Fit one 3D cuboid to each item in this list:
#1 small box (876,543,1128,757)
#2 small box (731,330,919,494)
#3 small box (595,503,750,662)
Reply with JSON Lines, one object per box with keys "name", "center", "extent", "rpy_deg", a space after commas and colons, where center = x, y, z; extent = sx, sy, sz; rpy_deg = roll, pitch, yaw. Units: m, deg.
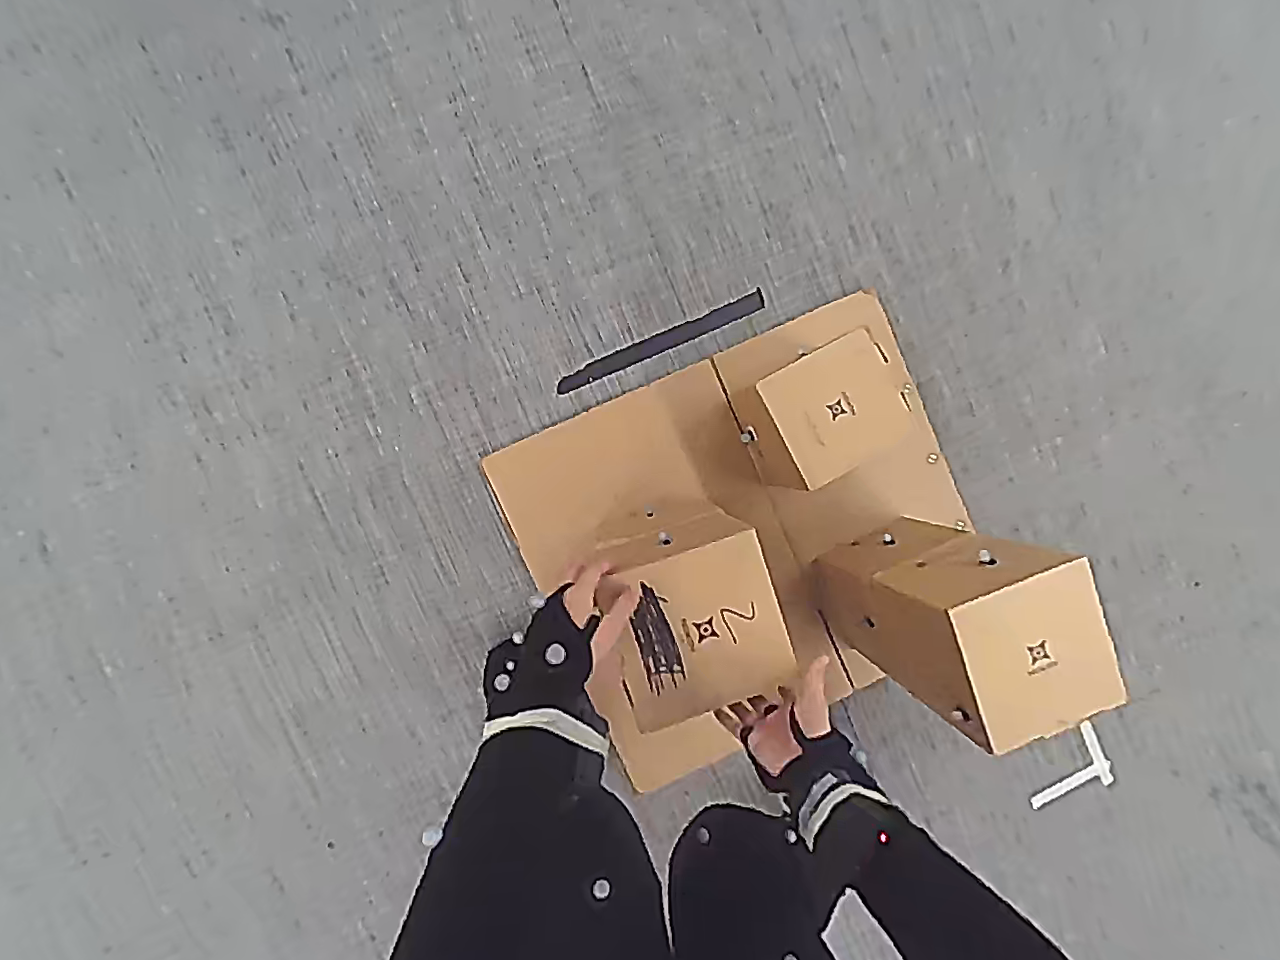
{"name": "small box", "center": [0.418, 0.185, 0.654], "extent": [0.168, 0.176, 0.179], "rpy_deg": [-20, 95, -3]}
{"name": "small box", "center": [0.258, -0.094, 0.796], "extent": [0.179, 0.176, 0.168], "rpy_deg": [-28, 93, -2]}
{"name": "small box", "center": [0.041, 0.137, 0.786], "extent": [0.179, 0.176, 0.168], "rpy_deg": [-15, 94, -2]}
